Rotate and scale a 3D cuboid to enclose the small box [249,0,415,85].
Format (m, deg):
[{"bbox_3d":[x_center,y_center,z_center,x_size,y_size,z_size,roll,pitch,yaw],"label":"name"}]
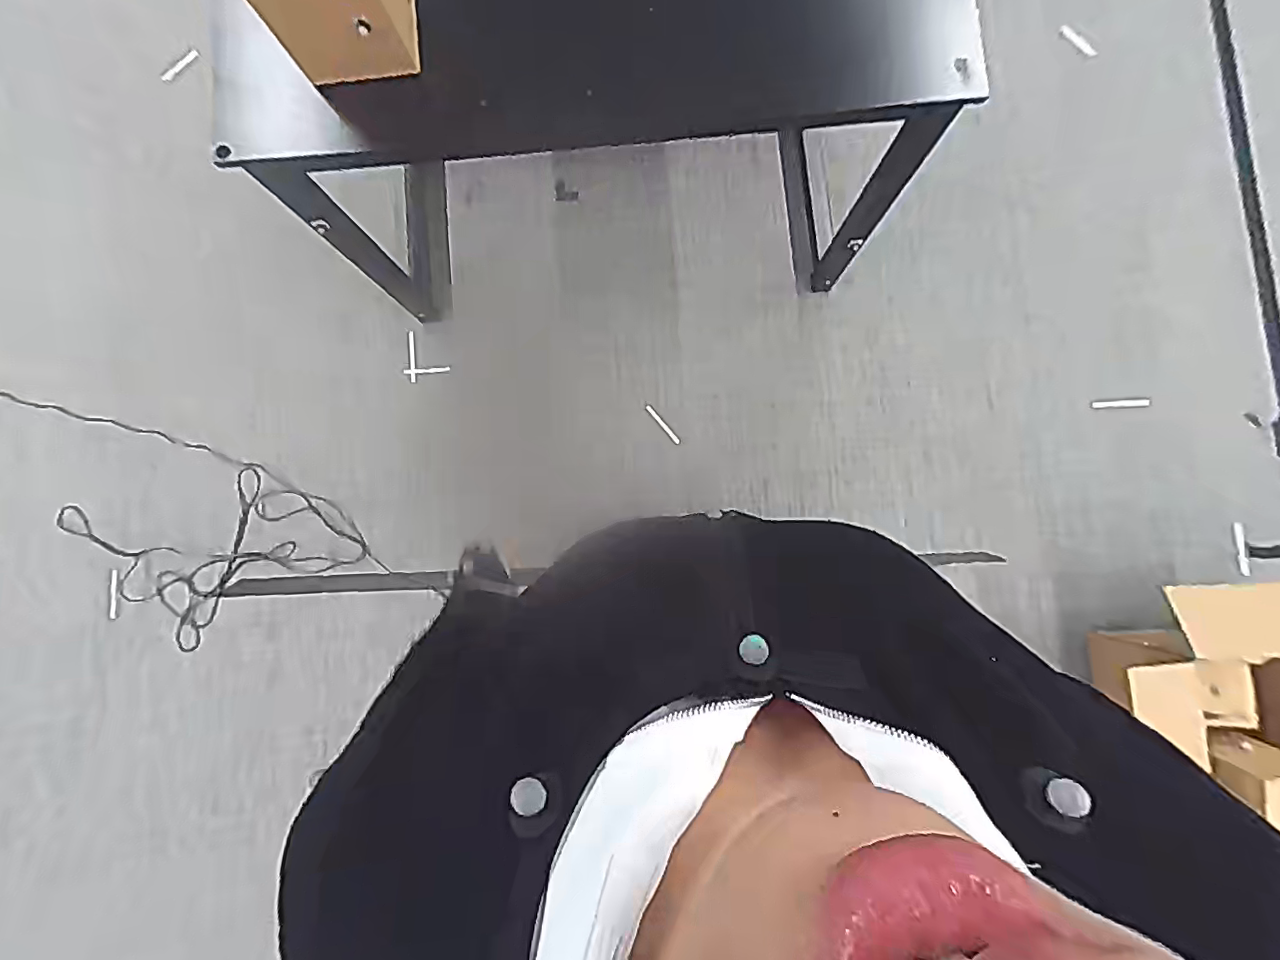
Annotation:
[{"bbox_3d":[-0.443,-0.721,0.786,0.179,0.176,0.168,-6,84,2],"label":"small box"}]

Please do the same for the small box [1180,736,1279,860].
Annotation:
[{"bbox_3d":[1.324,0.677,1.164,0.168,0.176,0.179,-1,89,1],"label":"small box"}]
